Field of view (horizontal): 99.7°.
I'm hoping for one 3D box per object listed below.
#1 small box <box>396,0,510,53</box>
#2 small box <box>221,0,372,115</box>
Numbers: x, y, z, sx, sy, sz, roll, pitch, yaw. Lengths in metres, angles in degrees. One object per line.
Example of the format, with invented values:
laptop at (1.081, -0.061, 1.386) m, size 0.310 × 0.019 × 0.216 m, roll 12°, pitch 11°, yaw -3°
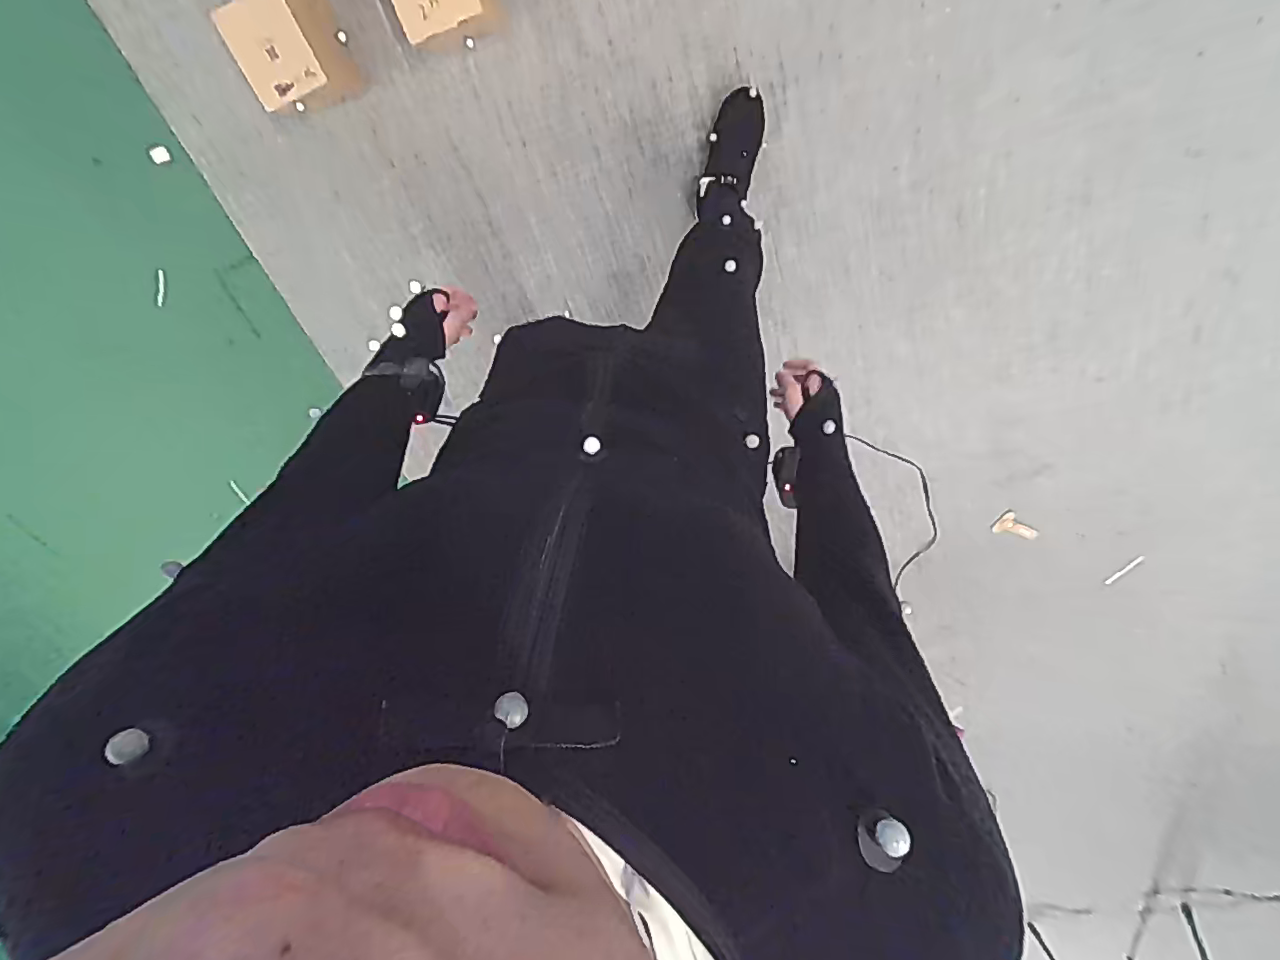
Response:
small box at (-0.382, -0.981, 1.065) m, size 0.168 × 0.176 × 0.179 m, roll -11°, pitch 121°, yaw 15°
small box at (-0.721, -0.910, 1.156) m, size 0.168 × 0.176 × 0.179 m, roll -13°, pitch 120°, yaw 16°
